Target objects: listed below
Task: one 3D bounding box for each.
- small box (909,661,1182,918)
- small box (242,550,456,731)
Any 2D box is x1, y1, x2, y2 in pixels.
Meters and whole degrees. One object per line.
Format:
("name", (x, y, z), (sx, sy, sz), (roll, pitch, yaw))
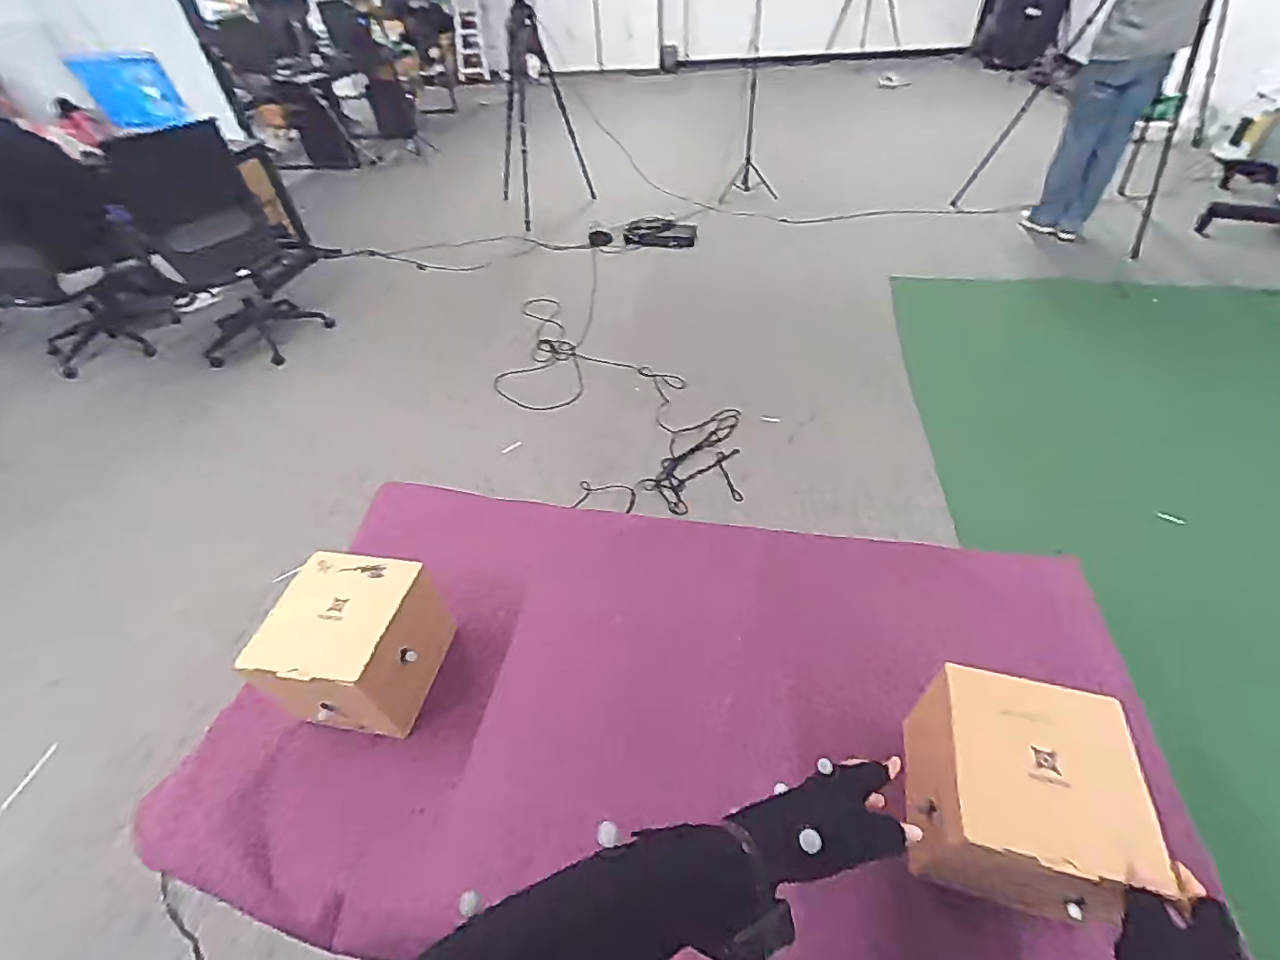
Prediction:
("small box", (0.396, 0.327, 0.572), (0.168, 0.176, 0.179), (10, 47, 14))
("small box", (-0.377, 0.222, 0.745), (0.168, 0.176, 0.179), (5, 46, 9))
